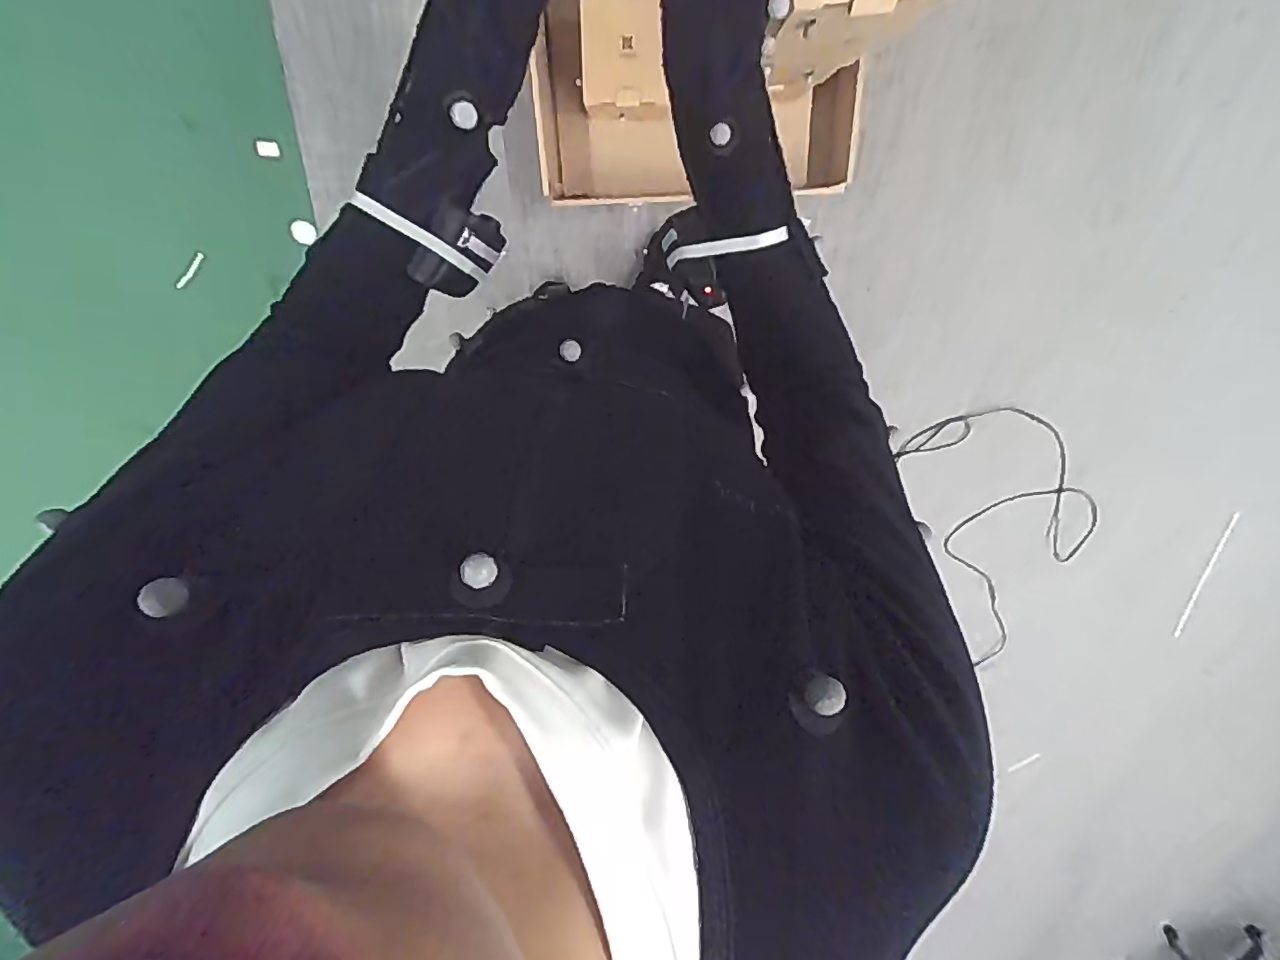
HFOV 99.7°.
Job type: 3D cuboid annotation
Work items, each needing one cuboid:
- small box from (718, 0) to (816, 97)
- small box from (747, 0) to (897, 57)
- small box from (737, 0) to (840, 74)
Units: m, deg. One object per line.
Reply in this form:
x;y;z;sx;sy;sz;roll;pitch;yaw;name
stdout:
0.237;-0.837;1.010;0.168;0.176;0.179;-4;116;5;small box
0.240;-0.685;0.719;0.168;0.176;0.179;0;117;1;small box
0.246;-0.757;0.847;0.168;0.176;0.179;-1;117;2;small box
